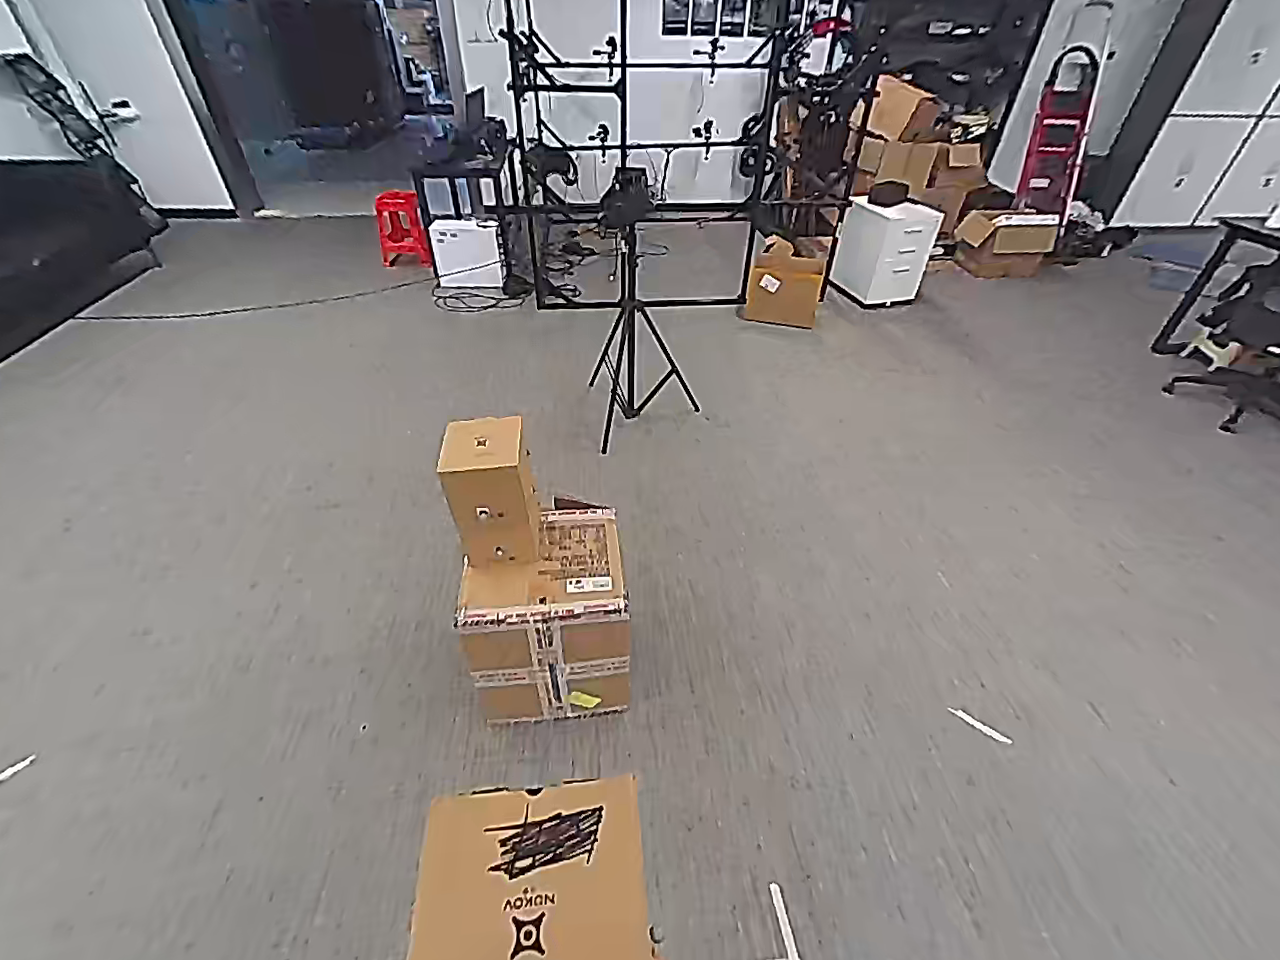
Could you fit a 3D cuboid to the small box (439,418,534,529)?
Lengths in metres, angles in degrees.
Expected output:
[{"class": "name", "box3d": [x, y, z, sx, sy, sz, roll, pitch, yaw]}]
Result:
[{"class": "small box", "box3d": [-0.333, -0.015, 1.203, 0.168, 0.176, 0.179, -6, 44, -5]}]

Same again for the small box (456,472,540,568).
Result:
[{"class": "small box", "box3d": [-0.340, 0.092, 1.328, 0.168, 0.176, 0.179, -5, 43, -5]}]
